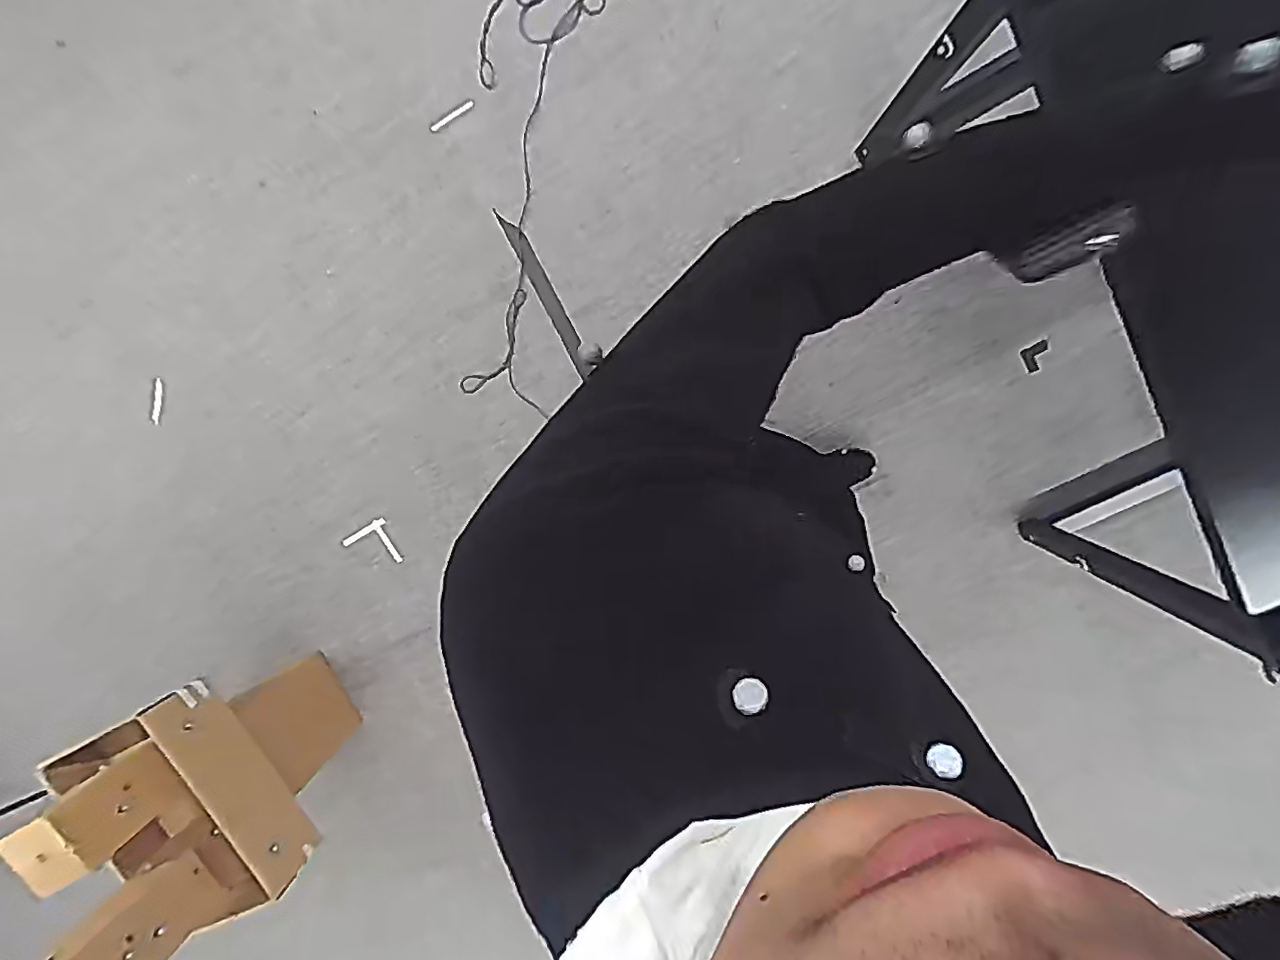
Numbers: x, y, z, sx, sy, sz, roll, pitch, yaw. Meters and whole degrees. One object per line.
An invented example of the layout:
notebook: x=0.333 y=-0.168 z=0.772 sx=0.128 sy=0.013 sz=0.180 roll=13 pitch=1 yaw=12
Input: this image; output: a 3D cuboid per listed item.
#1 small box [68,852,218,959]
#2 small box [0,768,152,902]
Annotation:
small box: x=-1.187 y=1.052 z=1.306 sx=0.179 sy=0.176 sz=0.168 roll=-26 pitch=99 yaw=11
small box: x=-1.320 y=0.823 z=1.267 sx=0.179 sy=0.176 sz=0.168 roll=-30 pitch=98 yaw=10
